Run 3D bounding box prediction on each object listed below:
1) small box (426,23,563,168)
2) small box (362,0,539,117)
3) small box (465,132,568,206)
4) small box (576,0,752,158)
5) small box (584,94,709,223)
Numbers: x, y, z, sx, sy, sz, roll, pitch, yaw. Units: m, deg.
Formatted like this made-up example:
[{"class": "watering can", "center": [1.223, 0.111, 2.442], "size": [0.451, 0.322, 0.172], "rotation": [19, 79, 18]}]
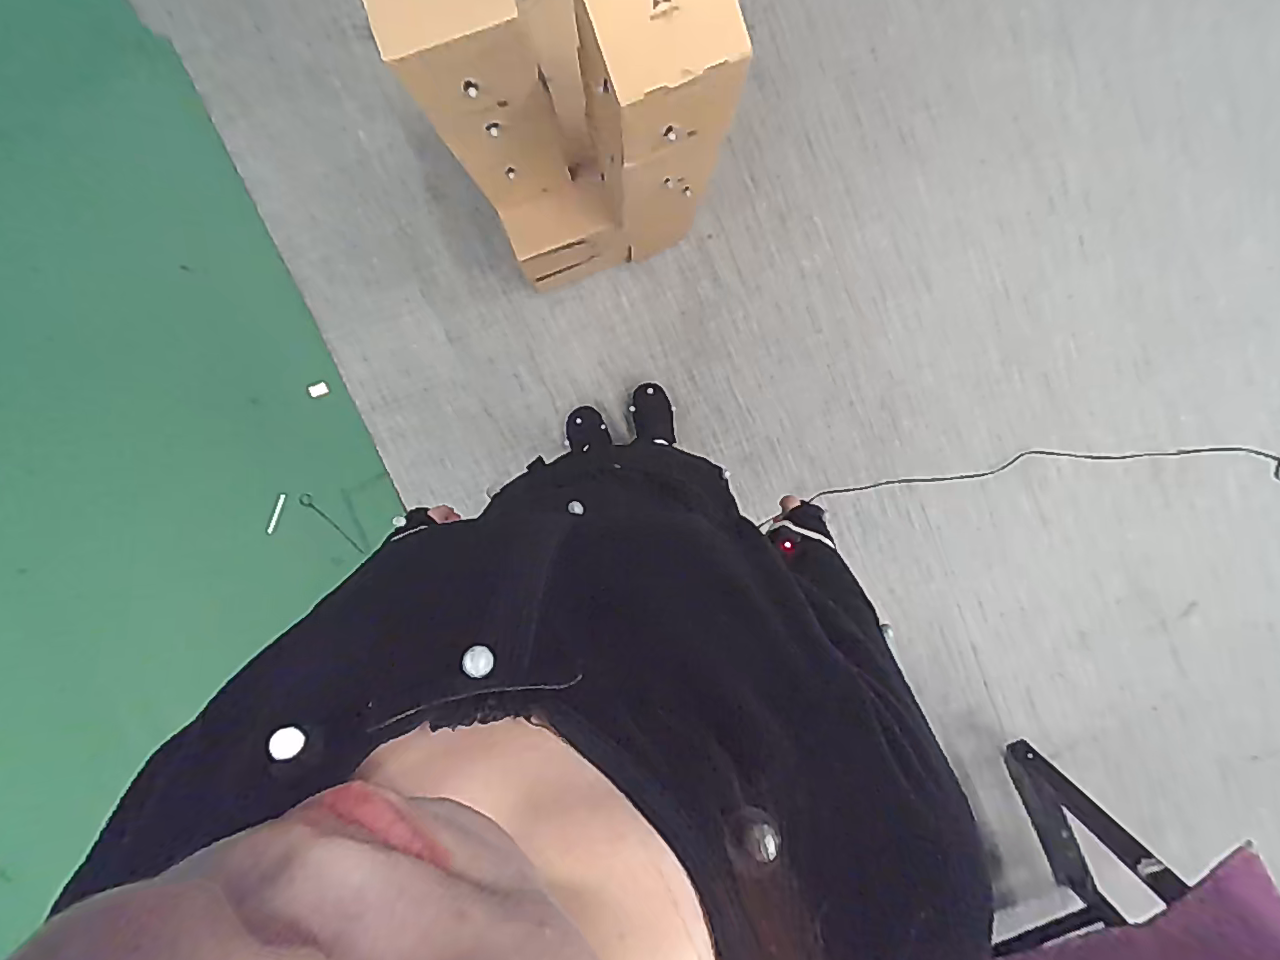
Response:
[{"class": "small box", "center": [-0.240, -0.622, 0.835], "size": [0.179, 0.176, 0.168], "rotation": [-22, 98, 6]}, {"class": "small box", "center": [-0.237, -0.591, 0.675], "size": [0.168, 0.176, 0.179], "rotation": [-15, 98, 2]}, {"class": "small box", "center": [-0.247, -0.647, 1.001], "size": [0.168, 0.176, 0.179], "rotation": [-21, 97, 3]}, {"class": "small box", "center": [0.021, -0.555, 0.684], "size": [0.168, 0.176, 0.179], "rotation": [-21, 99, 2]}, {"class": "small box", "center": [0.010, -0.612, 1.005], "size": [0.179, 0.176, 0.168], "rotation": [-23, 97, 3]}]
